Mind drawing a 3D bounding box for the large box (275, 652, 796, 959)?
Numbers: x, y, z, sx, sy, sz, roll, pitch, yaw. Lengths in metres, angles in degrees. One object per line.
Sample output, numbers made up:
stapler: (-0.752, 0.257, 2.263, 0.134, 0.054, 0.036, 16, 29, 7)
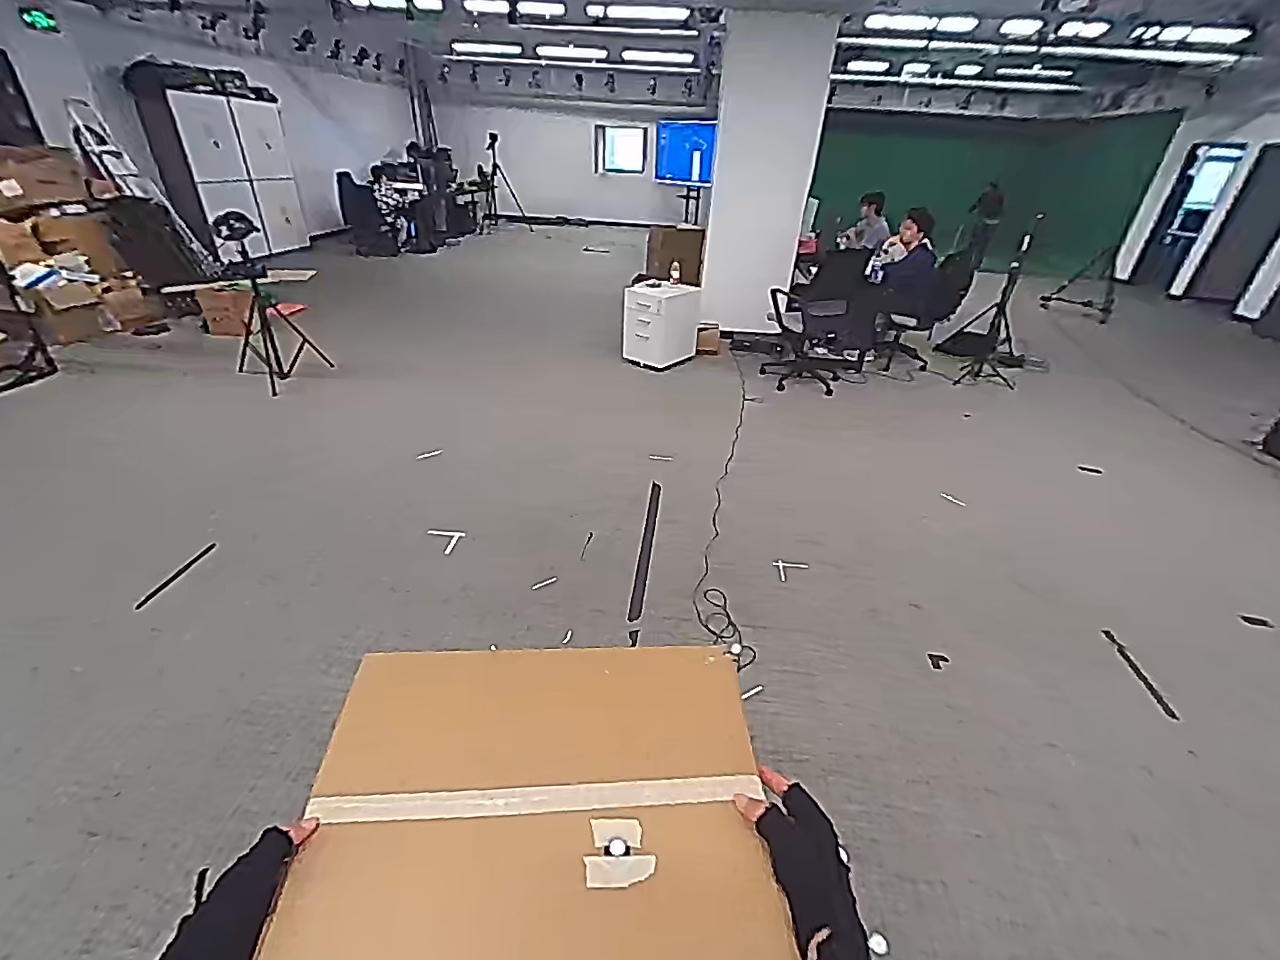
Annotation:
large box: (-0.094, 0.412, 0.594, 0.408, 0.320, 0.320, 1, 40, -5)
